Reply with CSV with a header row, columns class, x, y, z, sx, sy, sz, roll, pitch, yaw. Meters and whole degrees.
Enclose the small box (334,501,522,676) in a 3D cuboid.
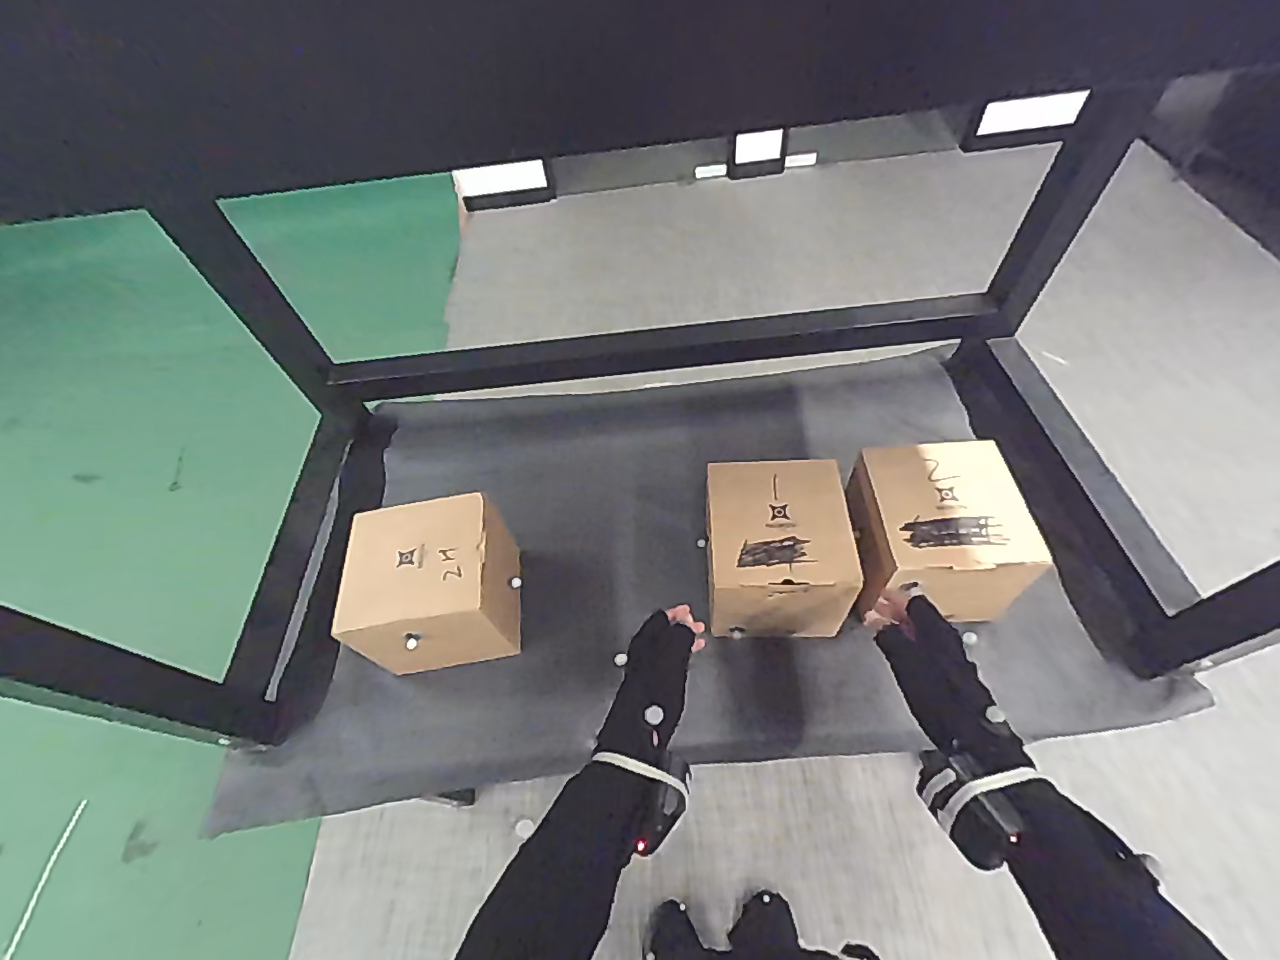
class,x,y,z,sx,sy,sz,roll,pitch,yaw
small box,-0.269,0.152,0.731,0.179,0.176,0.168,-9,54,0
